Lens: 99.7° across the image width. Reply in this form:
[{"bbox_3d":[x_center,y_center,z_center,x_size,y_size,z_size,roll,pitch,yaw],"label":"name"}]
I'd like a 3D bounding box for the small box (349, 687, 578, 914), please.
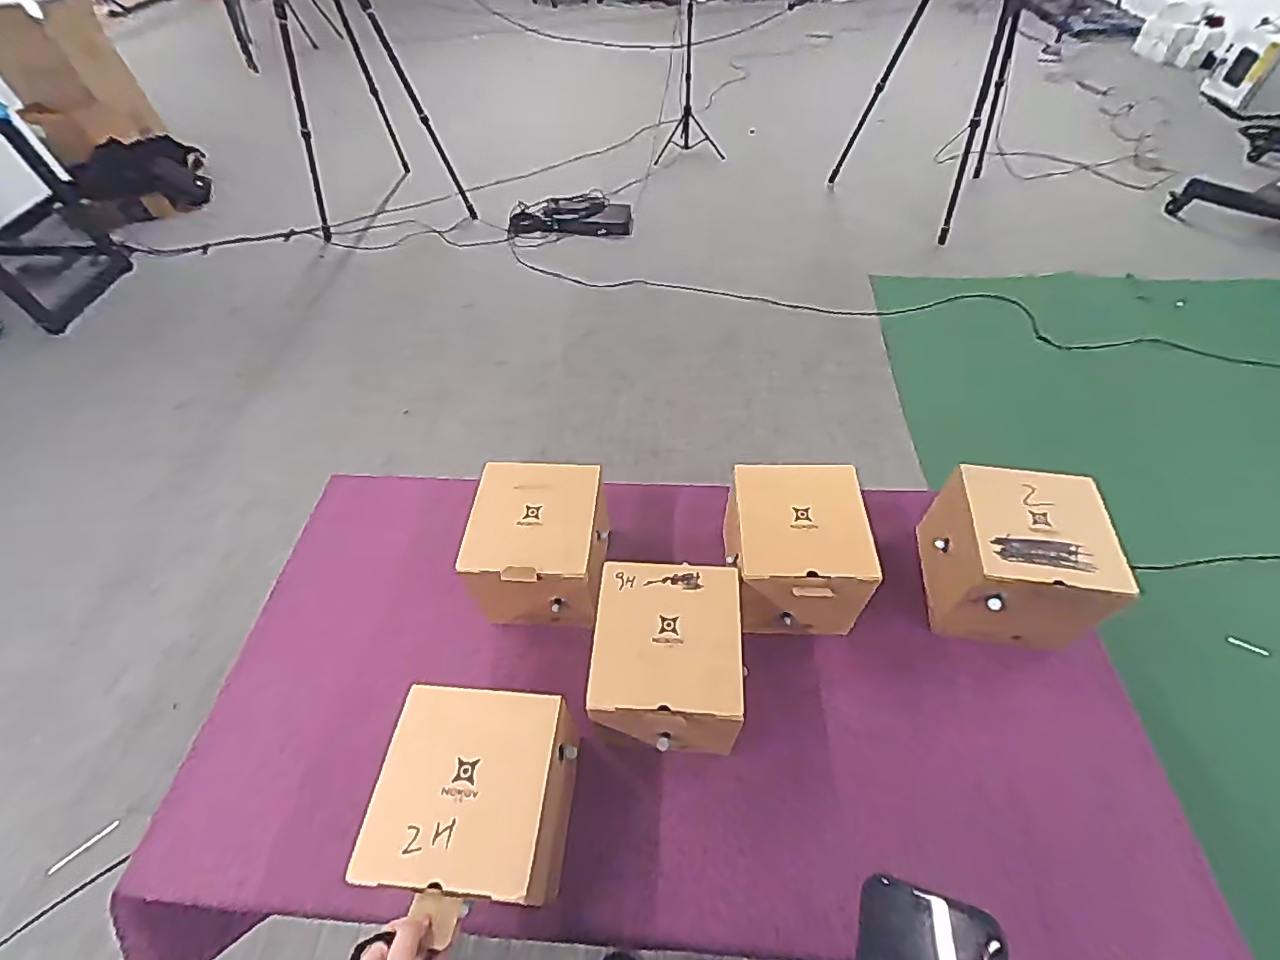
[{"bbox_3d":[-0.166,0.345,0.581,0.168,0.176,0.179,3,51,6],"label":"small box"}]

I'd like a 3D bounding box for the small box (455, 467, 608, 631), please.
[{"bbox_3d":[-0.139,0.102,0.774,0.168,0.176,0.179,3,52,4],"label":"small box"}]

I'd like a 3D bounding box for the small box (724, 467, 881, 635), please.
[{"bbox_3d":[0.211,0.101,0.757,0.168,0.176,0.179,0,53,3],"label":"small box"}]
